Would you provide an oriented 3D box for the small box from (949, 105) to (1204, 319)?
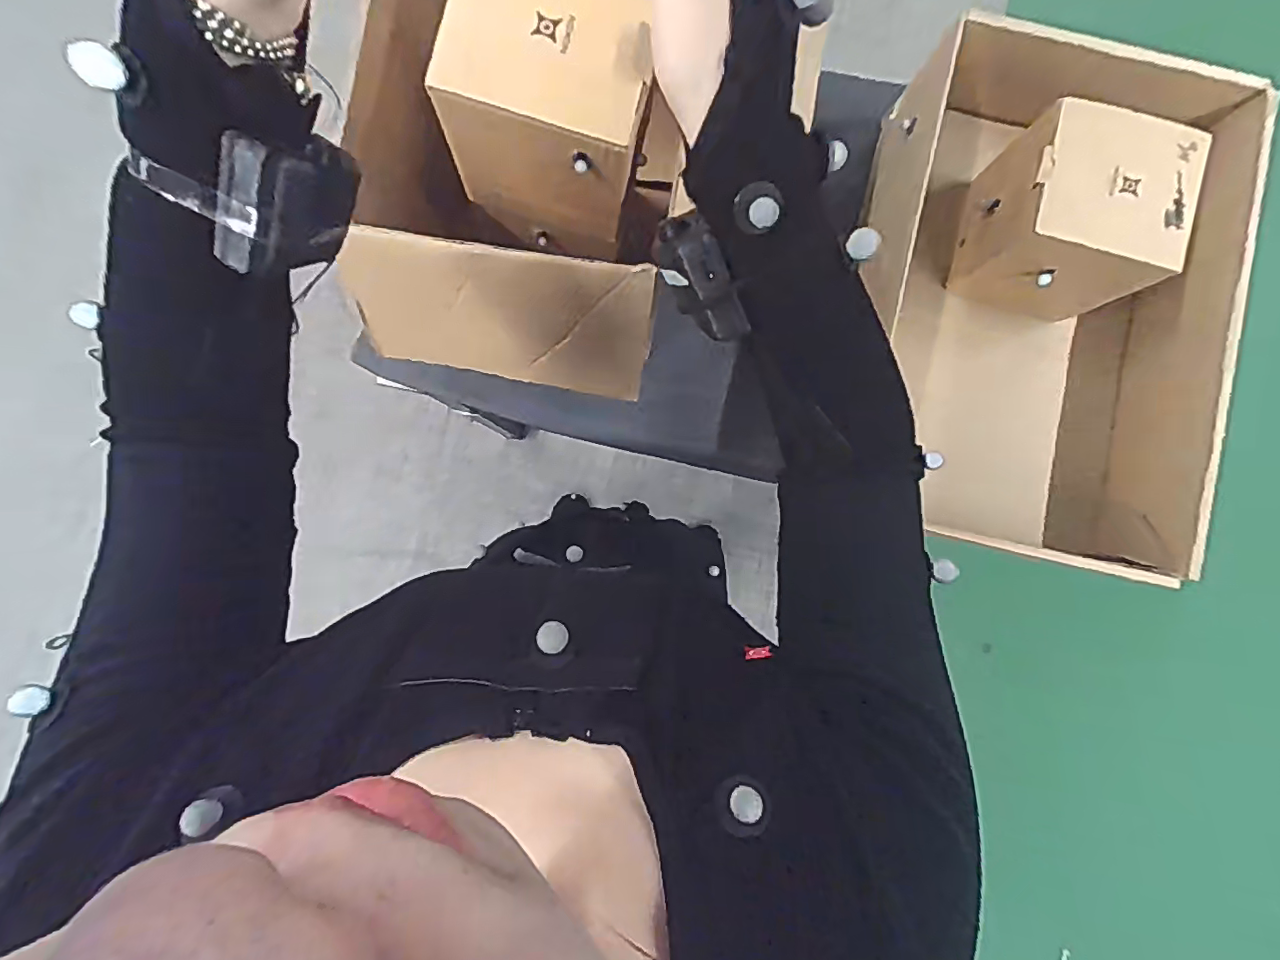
[{"bbox_3d":[0.531,-0.322,0.686,0.179,0.176,0.168,15,88,1],"label":"small box"}]
